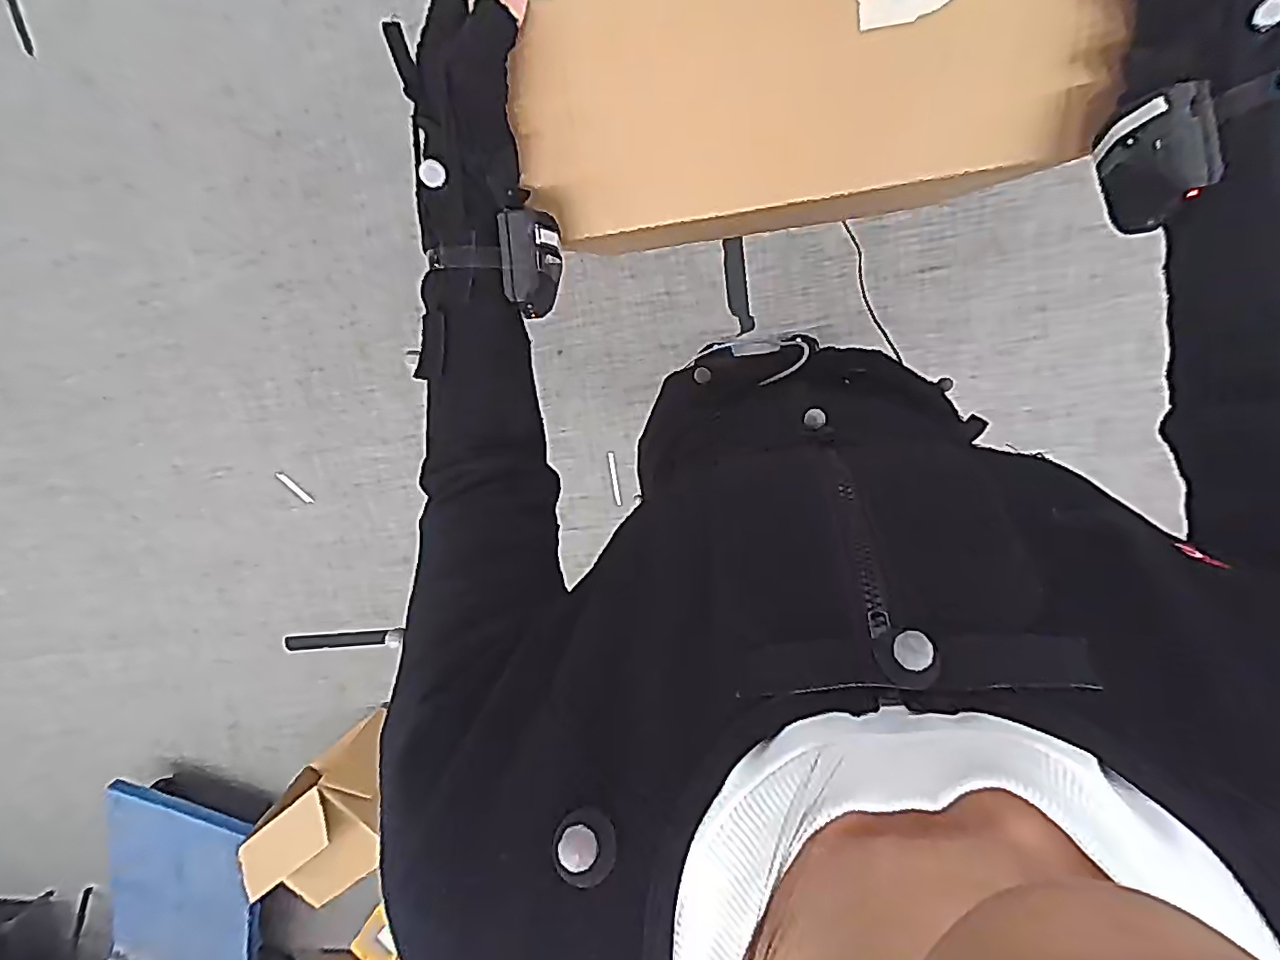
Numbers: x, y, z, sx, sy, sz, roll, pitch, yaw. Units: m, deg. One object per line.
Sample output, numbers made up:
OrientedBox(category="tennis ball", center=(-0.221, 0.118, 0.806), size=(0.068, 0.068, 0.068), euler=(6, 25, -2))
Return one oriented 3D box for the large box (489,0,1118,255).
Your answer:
OrientedBox(category="large box", center=(0.104, -0.402, 0.478), size=(0.408, 0.320, 0.320), euler=(-6, 110, 9))
